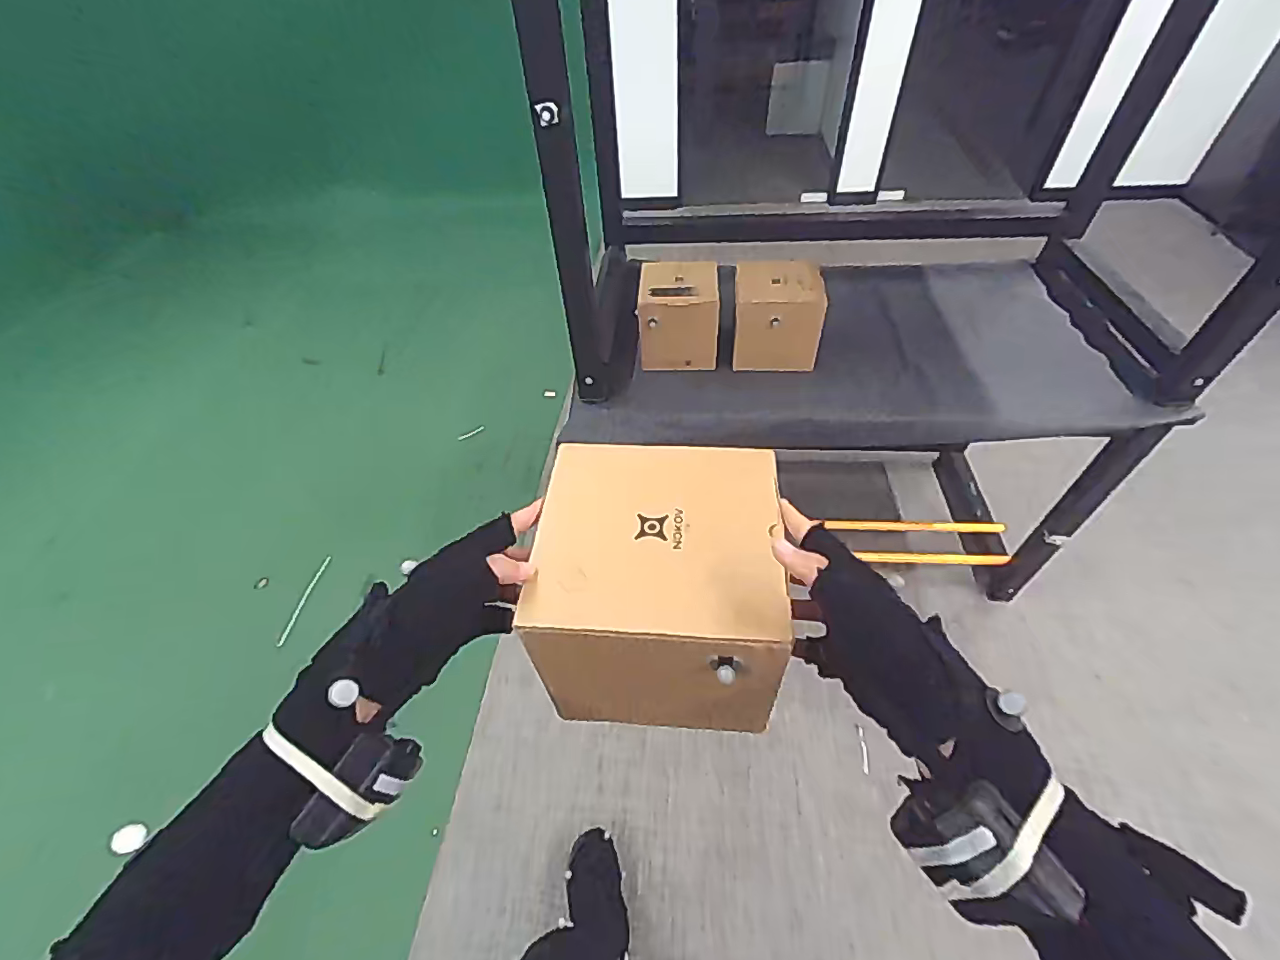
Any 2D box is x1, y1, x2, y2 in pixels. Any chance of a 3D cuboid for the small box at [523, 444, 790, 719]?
[{"bbox_3d":[0.019,0.087,0.455,0.179,0.176,0.168,2,48,5],"label":"small box"}]
